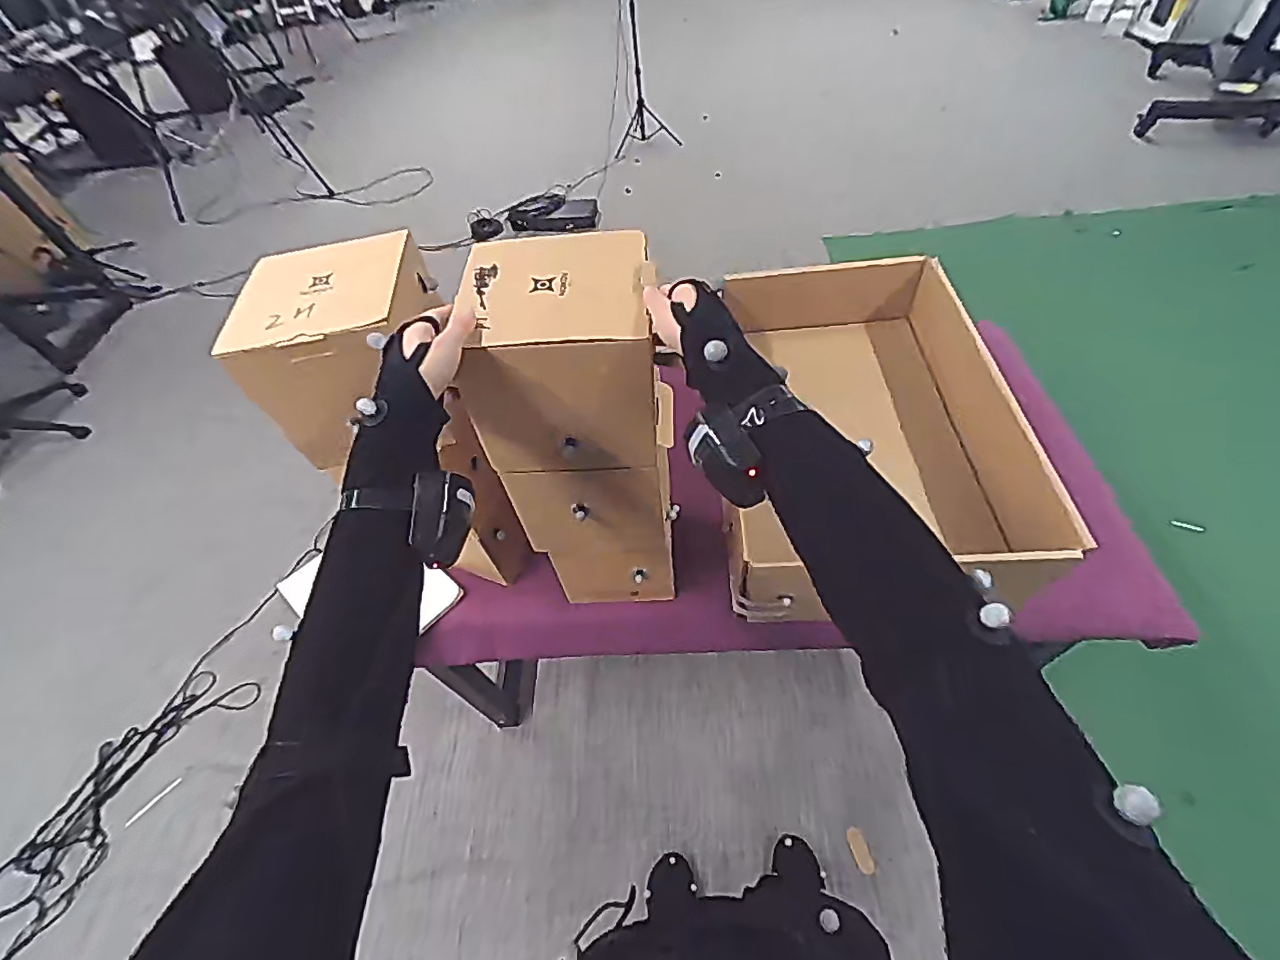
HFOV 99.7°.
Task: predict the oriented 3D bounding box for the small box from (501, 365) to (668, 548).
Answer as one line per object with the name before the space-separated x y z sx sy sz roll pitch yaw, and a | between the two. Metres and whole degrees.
small box | -0.055 -0.025 0.687 0.179 0.176 0.168 -2 51 6

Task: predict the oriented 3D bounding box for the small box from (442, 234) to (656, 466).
small box | -0.073 -0.126 0.551 0.179 0.176 0.168 0 53 2

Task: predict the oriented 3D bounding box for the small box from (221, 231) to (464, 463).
small box | -0.305 -0.146 0.606 0.168 0.176 0.179 -11 52 0
